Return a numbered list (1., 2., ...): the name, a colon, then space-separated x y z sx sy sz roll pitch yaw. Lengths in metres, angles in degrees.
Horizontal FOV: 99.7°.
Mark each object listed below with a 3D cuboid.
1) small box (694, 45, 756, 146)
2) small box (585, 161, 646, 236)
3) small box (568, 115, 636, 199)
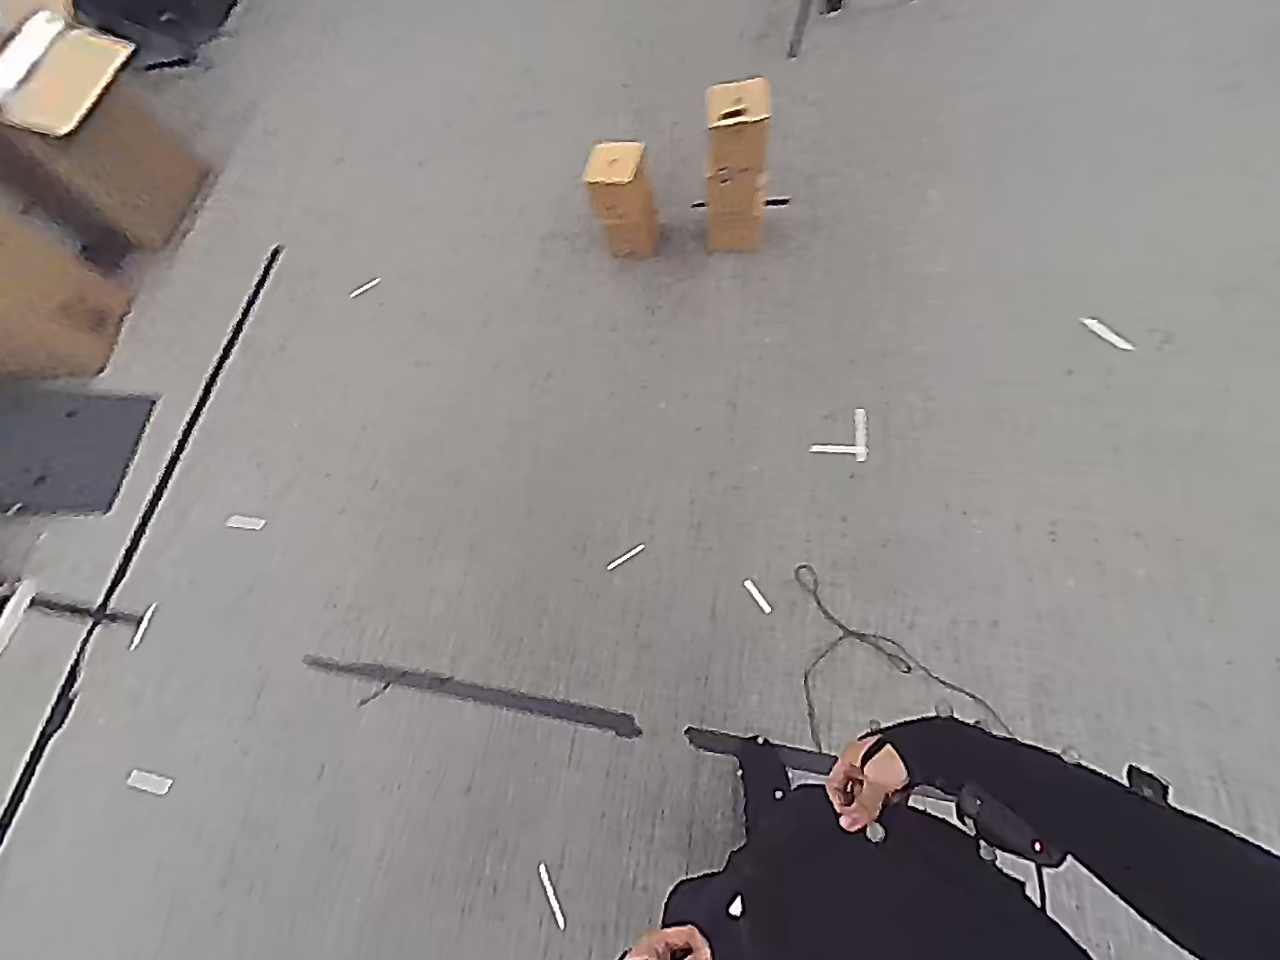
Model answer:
1. small box: 0.245 -1.092 1.554 0.168 0.176 0.179 -3 69 8
2. small box: -0.082 -1.004 1.932 0.168 0.176 0.179 7 71 15
3. small box: -0.118 -1.066 1.788 0.168 0.176 0.179 10 72 14
